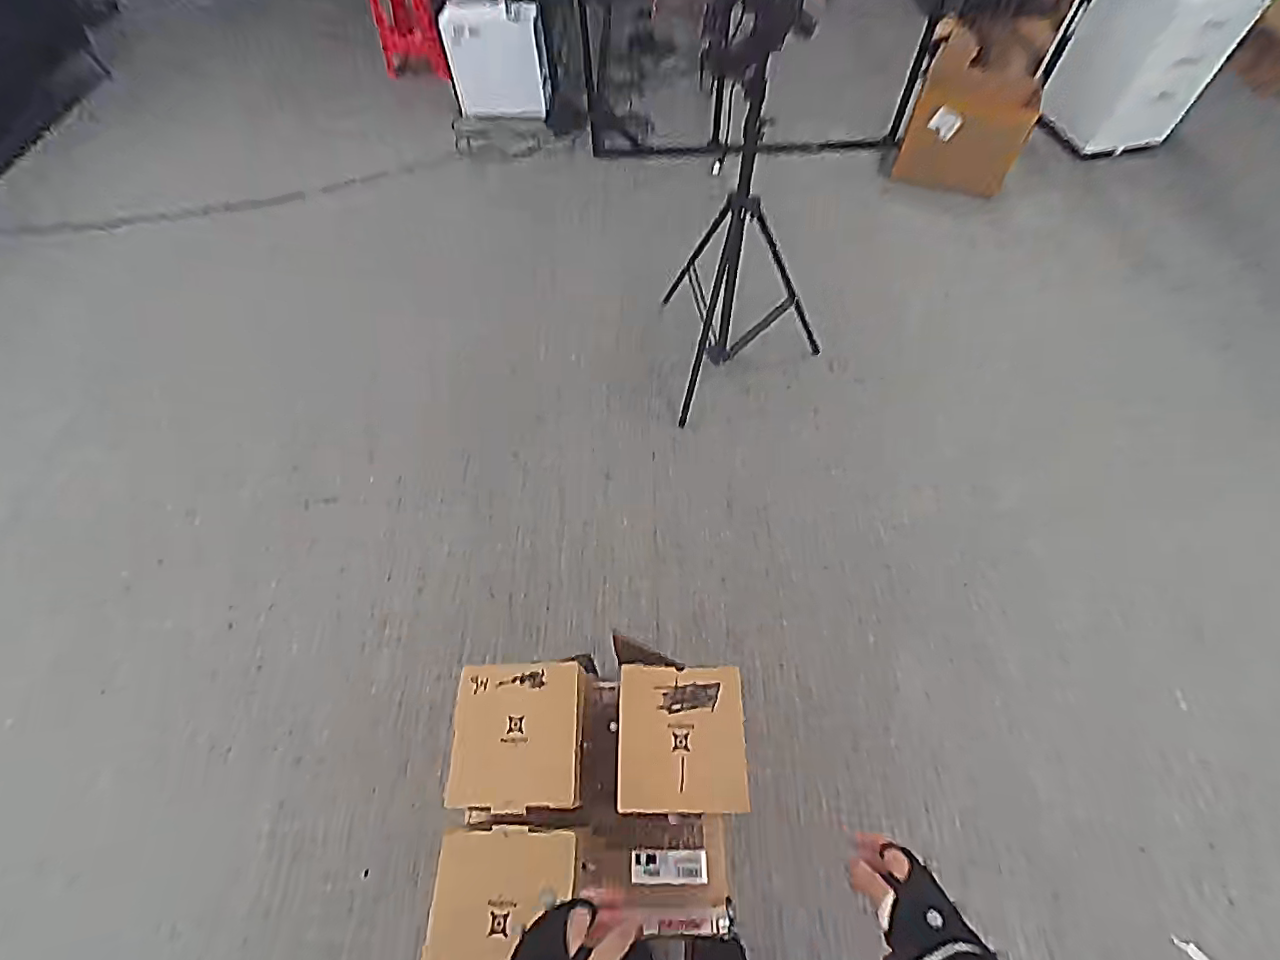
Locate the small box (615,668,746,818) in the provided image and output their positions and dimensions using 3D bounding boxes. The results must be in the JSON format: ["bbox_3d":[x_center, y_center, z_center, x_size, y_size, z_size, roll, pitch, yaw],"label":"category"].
[{"bbox_3d":[0.051,0.377,0.773,0.168,0.176,0.179,1,61,1],"label":"small box"}]
